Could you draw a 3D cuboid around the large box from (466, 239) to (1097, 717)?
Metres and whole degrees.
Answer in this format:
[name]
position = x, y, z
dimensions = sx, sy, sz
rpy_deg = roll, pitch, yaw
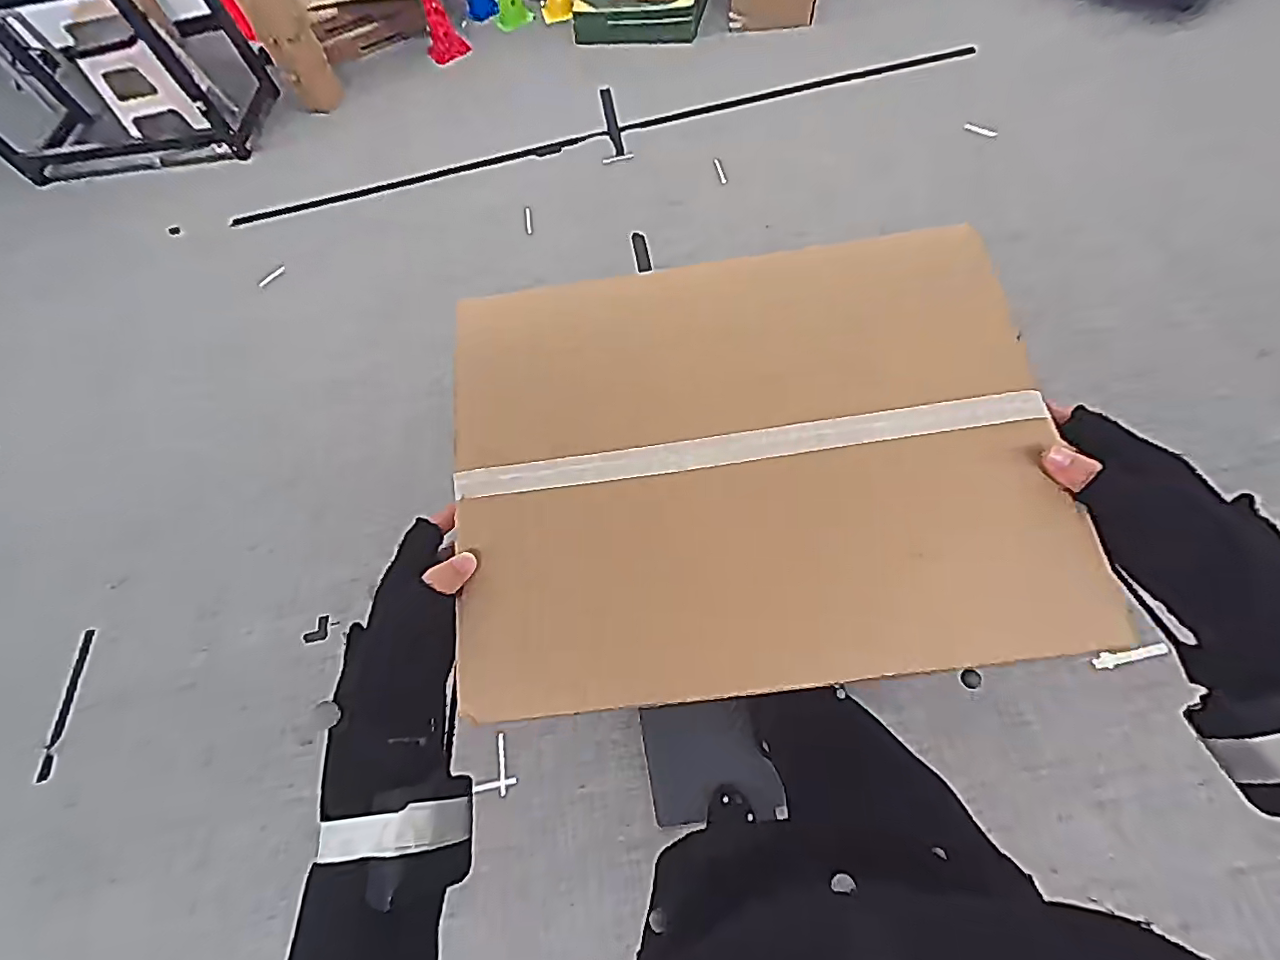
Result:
[large box]
position = 0.085, 0.025, 0.528
dimensions = 0.408, 0.320, 0.320
rpy_deg = -8, 71, 2

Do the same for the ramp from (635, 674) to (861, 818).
[ramp]
position = 0.183, 0.260, 1.372
dimensions = 0.509, 0.206, 0.991
rpy_deg = -12, 64, 0
